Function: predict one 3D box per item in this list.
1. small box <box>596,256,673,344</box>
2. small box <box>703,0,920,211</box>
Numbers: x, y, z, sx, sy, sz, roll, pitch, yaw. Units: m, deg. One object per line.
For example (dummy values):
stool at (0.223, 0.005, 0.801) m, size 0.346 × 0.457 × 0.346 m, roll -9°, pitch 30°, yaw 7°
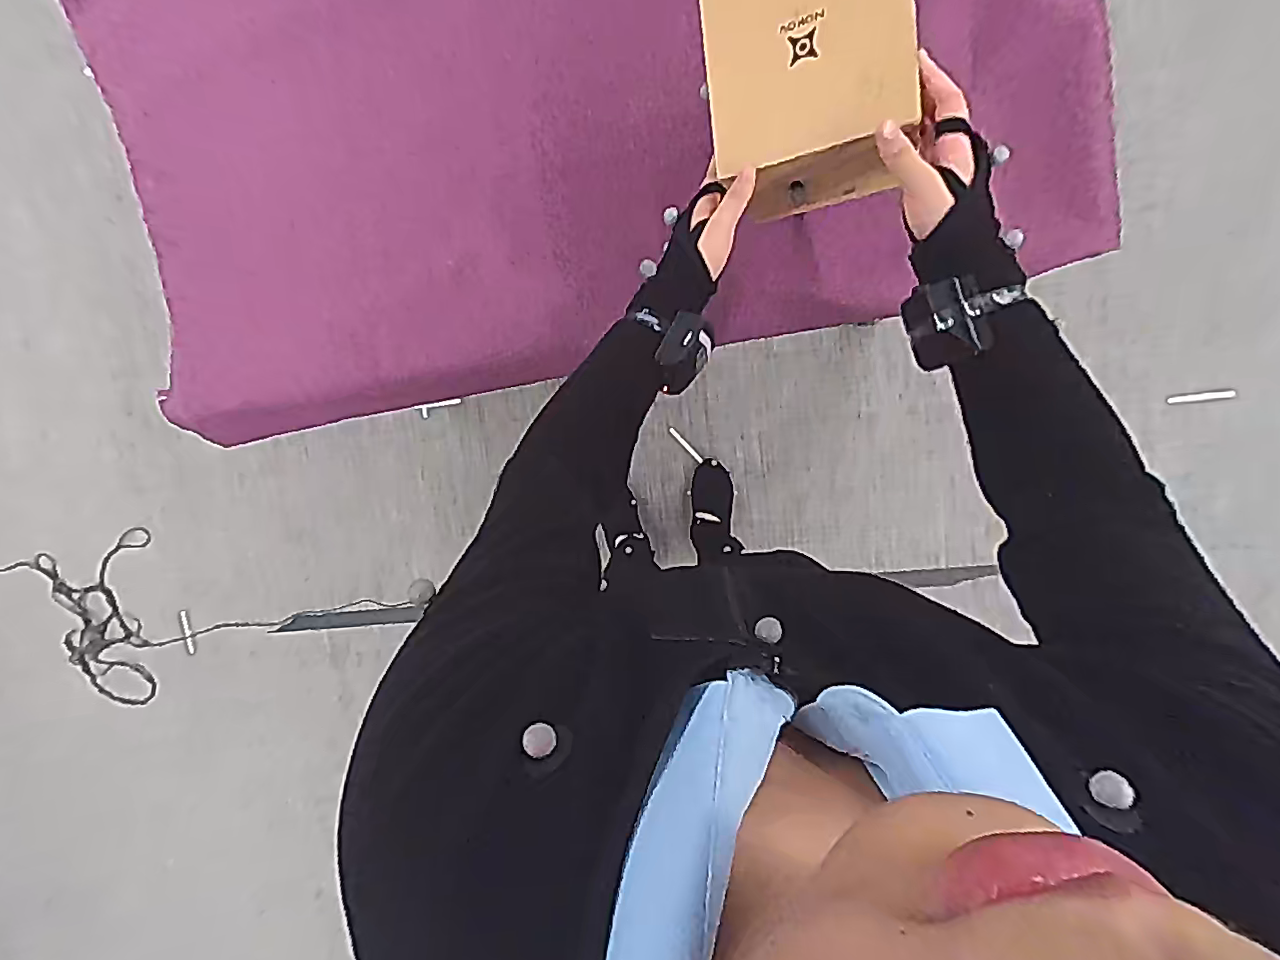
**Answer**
small box at (-0.007, -0.434, 1.334) m, size 0.168 × 0.176 × 0.179 m, roll -6°, pitch 98°, yaw 5°
small box at (0.166, -0.372, 0.508) m, size 0.168 × 0.176 × 0.179 m, roll -3°, pitch 99°, yaw 24°
